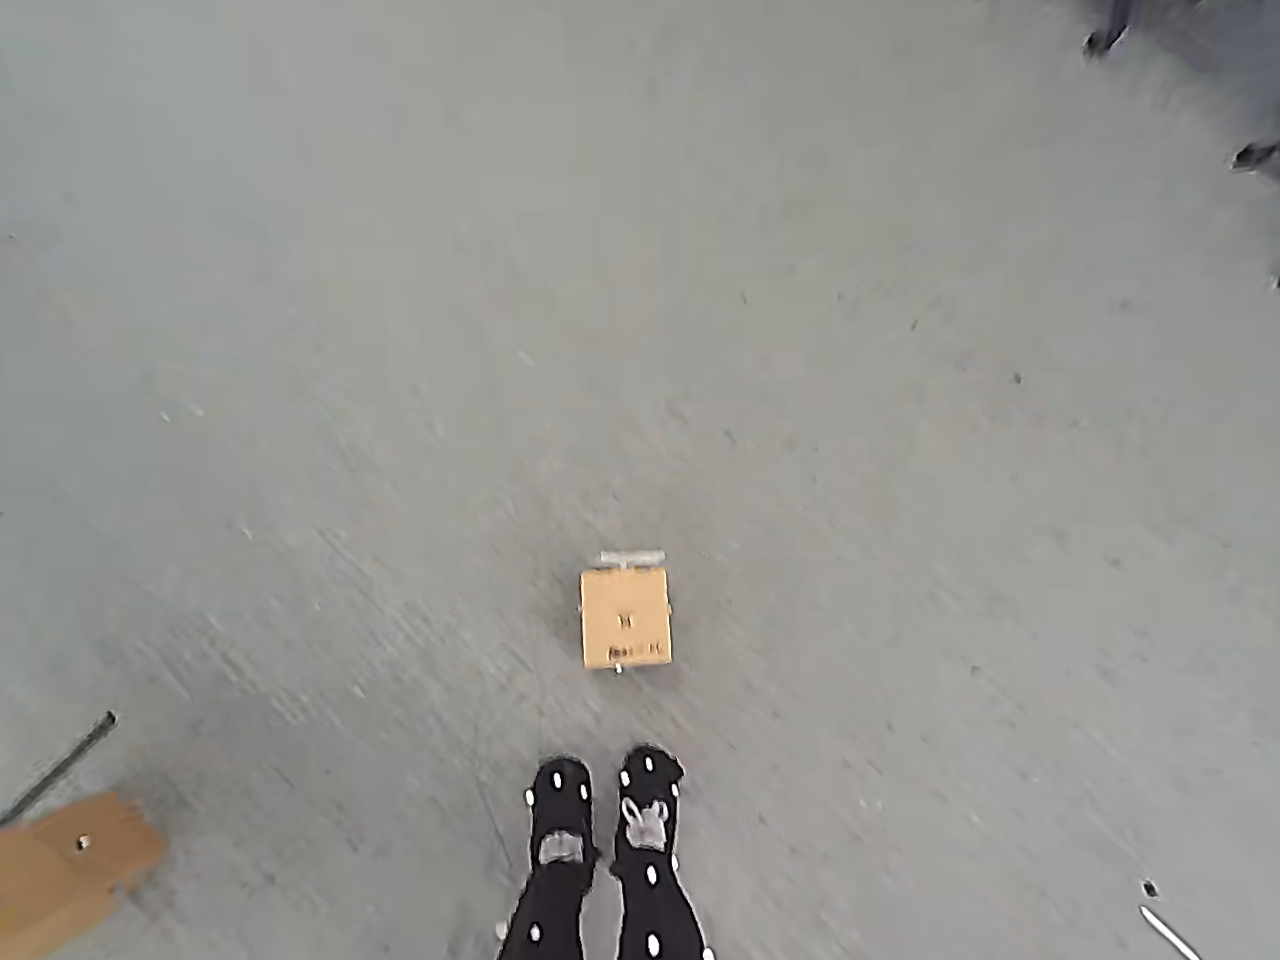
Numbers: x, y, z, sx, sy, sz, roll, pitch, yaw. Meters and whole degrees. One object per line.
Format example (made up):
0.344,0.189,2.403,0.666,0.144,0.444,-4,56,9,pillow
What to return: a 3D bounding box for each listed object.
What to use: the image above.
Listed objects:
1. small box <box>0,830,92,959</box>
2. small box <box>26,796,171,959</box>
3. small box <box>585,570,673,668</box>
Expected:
-1.022,0.684,0.825,0.179,0.176,0.168,39,80,7,small box
-1.030,0.721,0.985,0.179,0.176,0.168,38,79,7,small box
-0.027,0.279,1.102,0.168,0.176,0.179,-3,78,-3,small box
